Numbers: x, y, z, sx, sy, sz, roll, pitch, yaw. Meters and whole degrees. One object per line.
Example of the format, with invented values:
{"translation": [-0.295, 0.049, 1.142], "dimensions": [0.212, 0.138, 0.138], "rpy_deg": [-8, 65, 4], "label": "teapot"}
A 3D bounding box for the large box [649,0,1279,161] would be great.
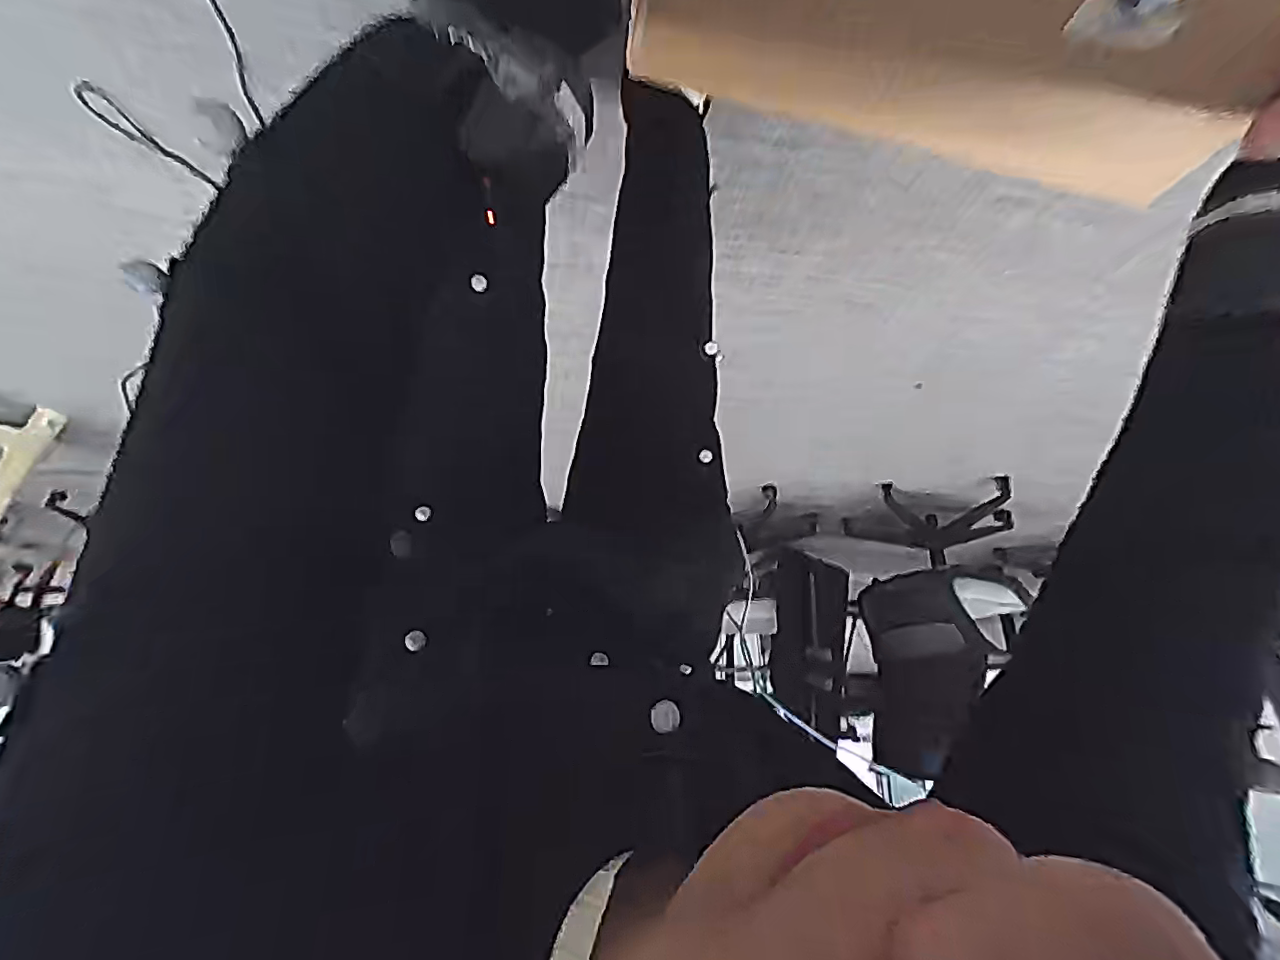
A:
{"translation": [0.232, -0.444, 0.278], "dimensions": [0.408, 0.320, 0.320], "rpy_deg": [7, 161, -8], "label": "large box"}
